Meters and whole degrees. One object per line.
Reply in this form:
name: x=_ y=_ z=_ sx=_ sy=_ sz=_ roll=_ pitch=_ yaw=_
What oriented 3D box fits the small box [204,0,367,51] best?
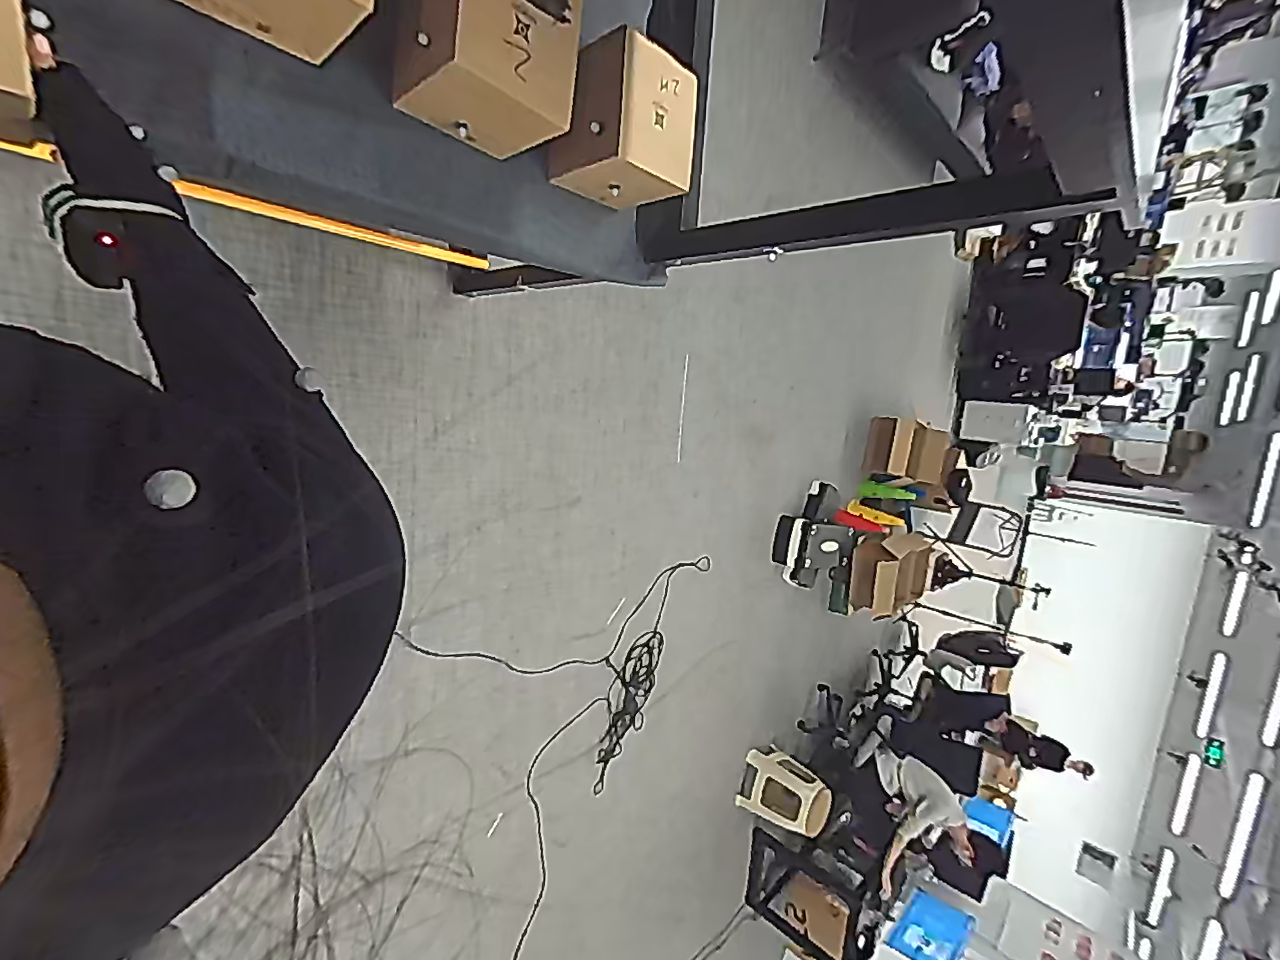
small box: x=-0.371 y=-0.562 z=0.513 sx=0.168 sy=0.176 sz=0.179 roll=-4 pitch=103 yaw=-47

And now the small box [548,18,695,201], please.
small box: x=-0.033 y=-0.574 z=0.873 sx=0.168 sy=0.176 sz=0.179 roll=-6 pitch=103 yaw=-47

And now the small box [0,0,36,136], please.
small box: x=-0.545 y=-0.371 z=0.366 sx=0.168 sy=0.176 sz=0.179 roll=-8 pitch=108 yaw=-47
